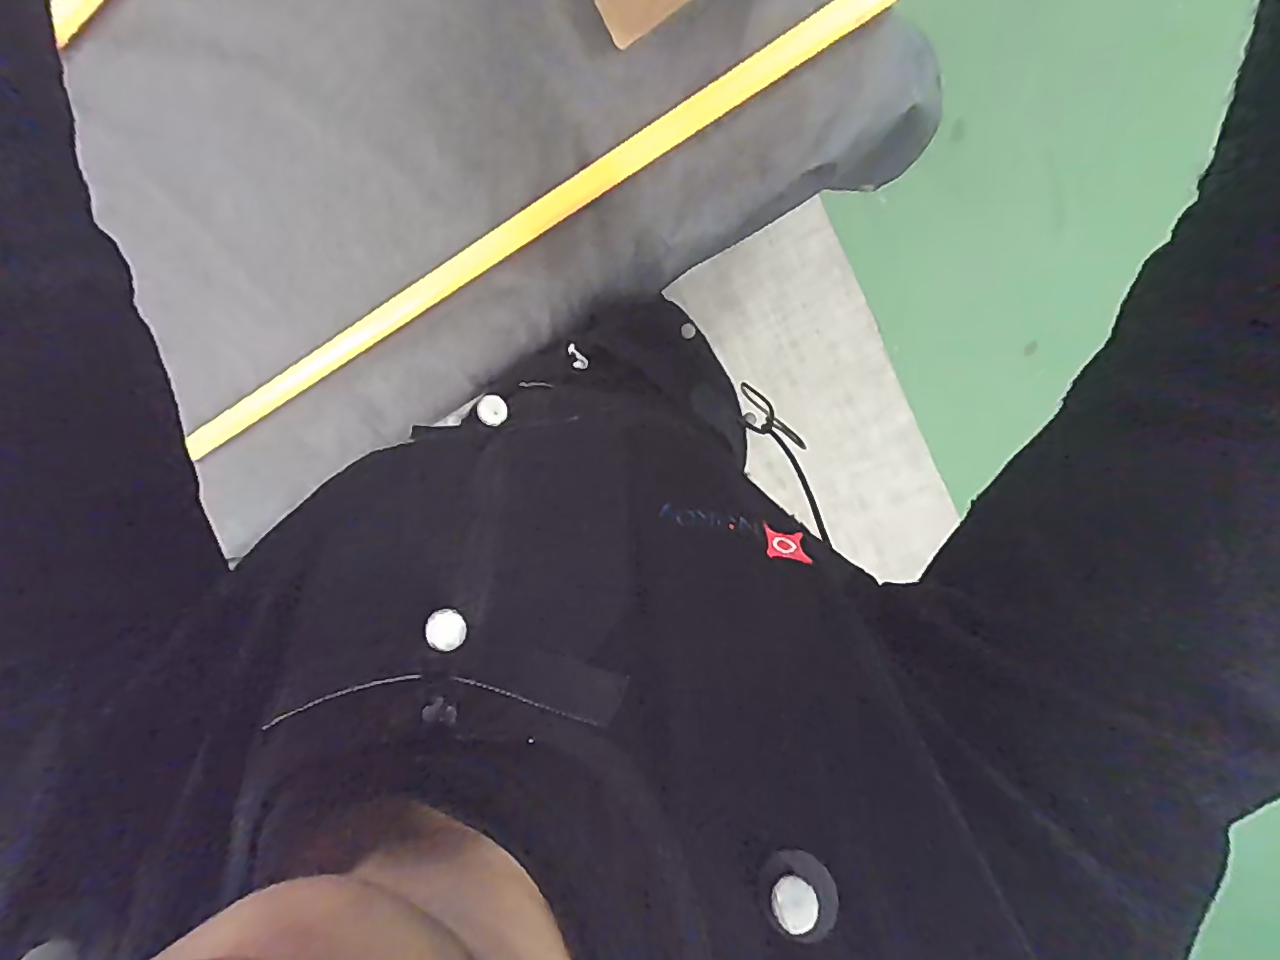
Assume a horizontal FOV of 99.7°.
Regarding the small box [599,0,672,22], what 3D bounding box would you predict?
[{"bbox_3d":[0.005,-0.451,0.351,0.168,0.176,0.179,-27,107,15],"label":"small box"}]
